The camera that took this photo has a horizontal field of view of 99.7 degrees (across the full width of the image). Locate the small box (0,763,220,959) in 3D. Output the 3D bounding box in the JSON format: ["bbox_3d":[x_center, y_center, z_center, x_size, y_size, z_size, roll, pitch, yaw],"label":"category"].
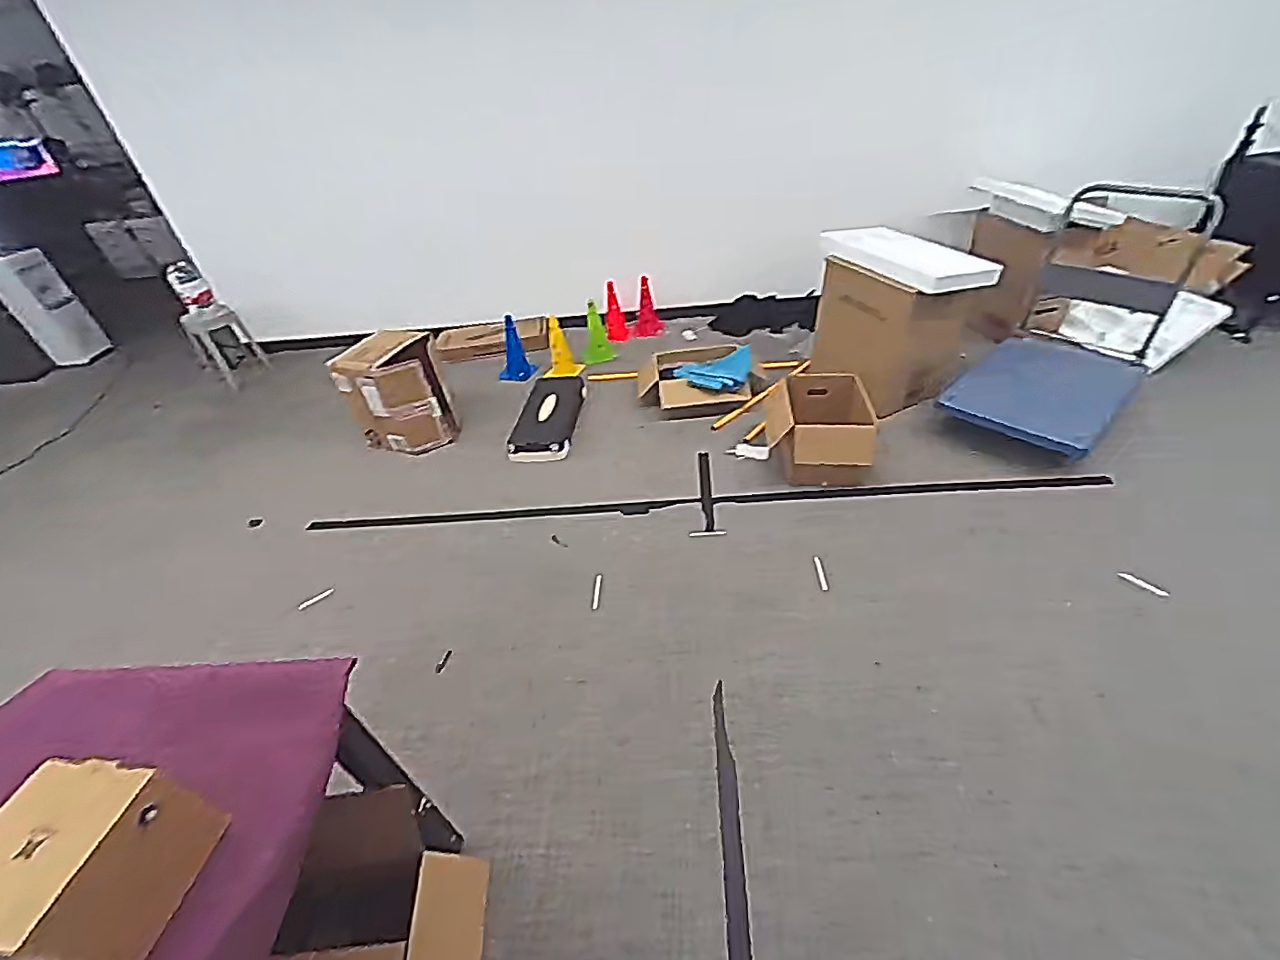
[{"bbox_3d":[-0.671,0.473,0.653,0.168,0.176,0.179,0,39,8],"label":"small box"}]
